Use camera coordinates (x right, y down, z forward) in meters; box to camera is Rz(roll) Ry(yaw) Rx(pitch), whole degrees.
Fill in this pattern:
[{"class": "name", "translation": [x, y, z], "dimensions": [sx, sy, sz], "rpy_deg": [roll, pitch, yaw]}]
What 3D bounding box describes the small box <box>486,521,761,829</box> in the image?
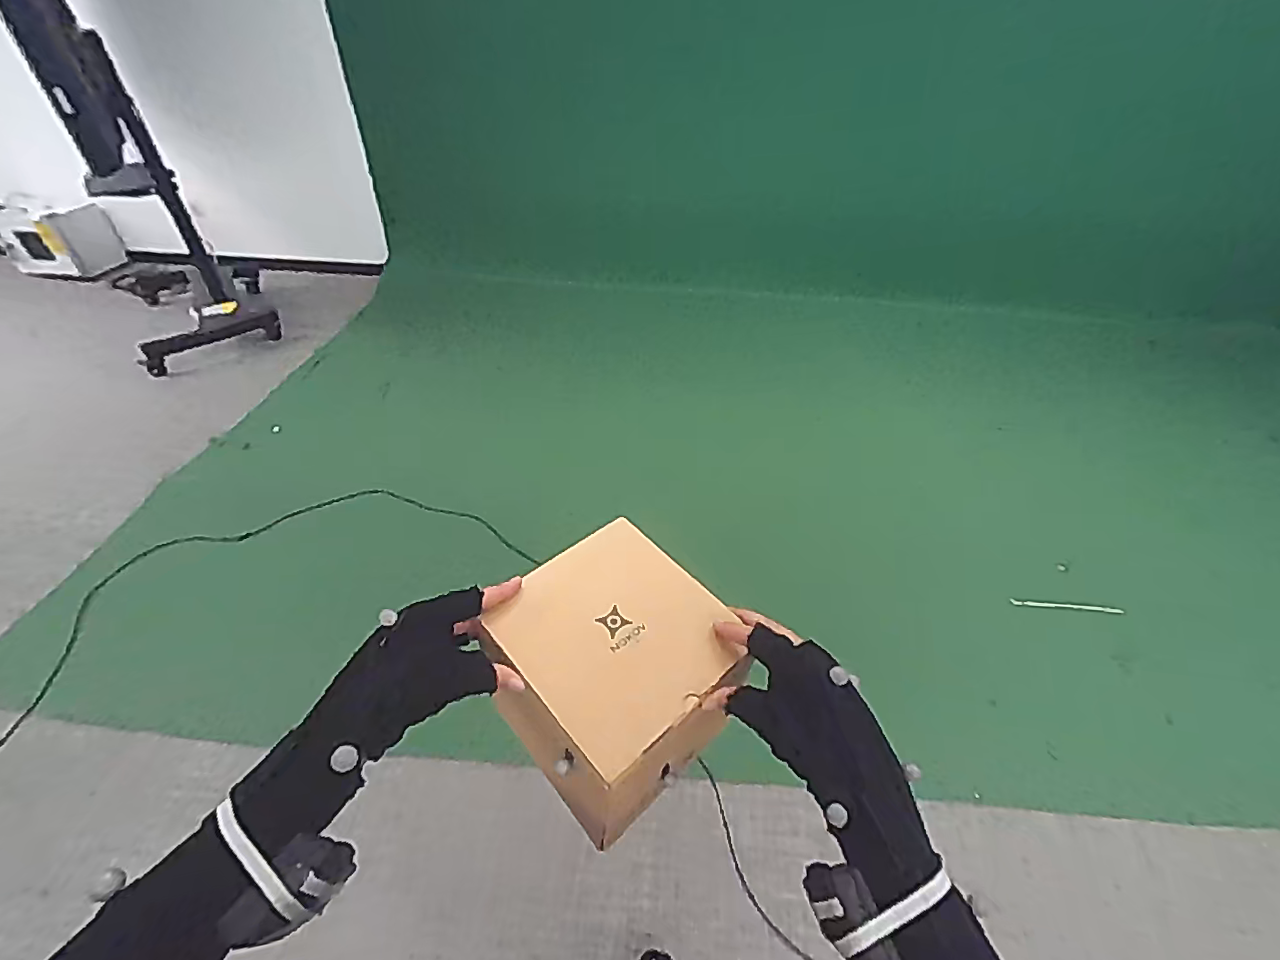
[{"class": "small box", "translation": [-0.022, 0.178, 0.503], "dimensions": [0.168, 0.176, 0.179], "rpy_deg": [-29, 54, -32]}]
